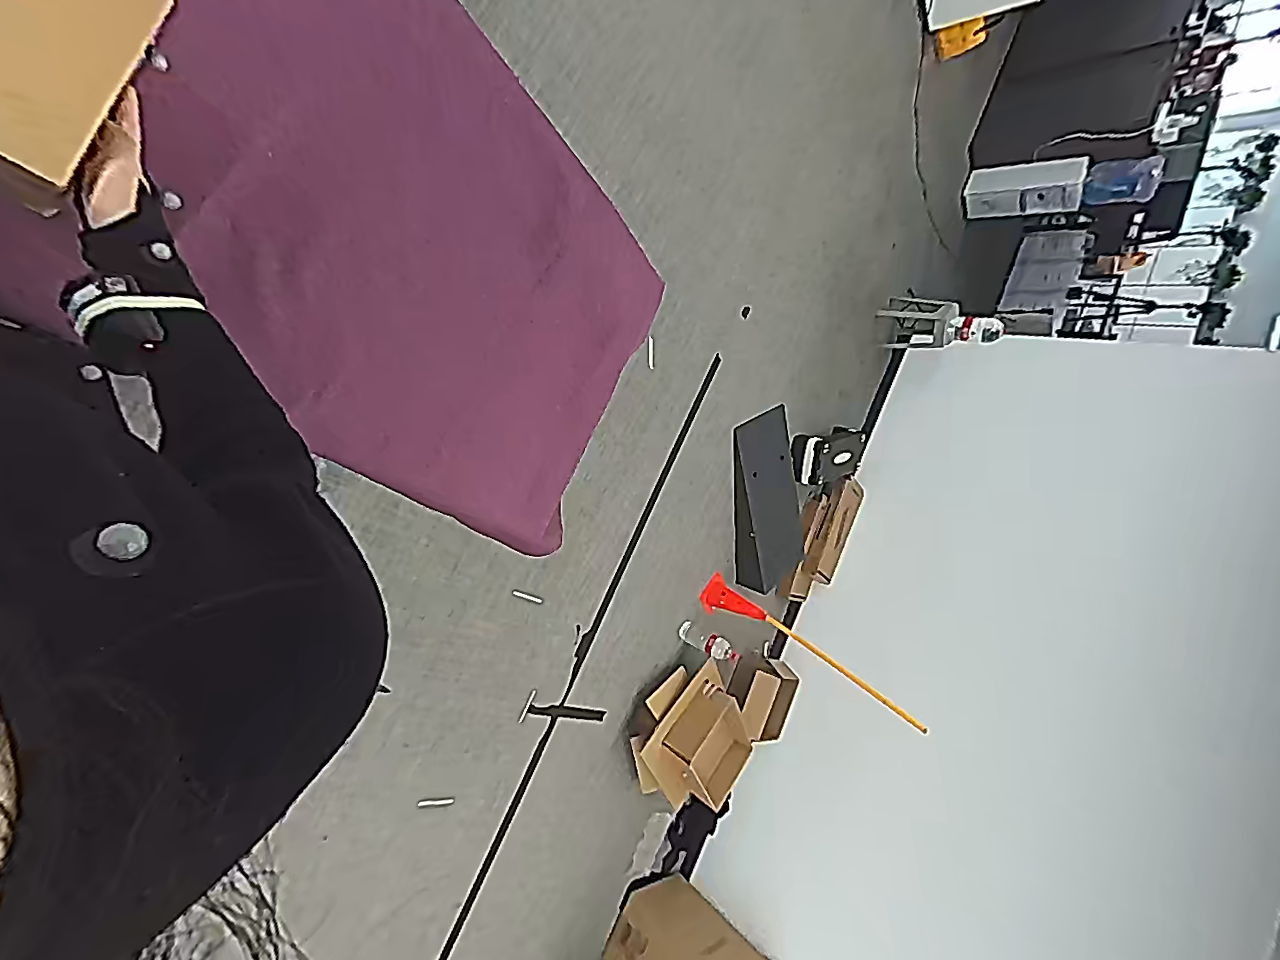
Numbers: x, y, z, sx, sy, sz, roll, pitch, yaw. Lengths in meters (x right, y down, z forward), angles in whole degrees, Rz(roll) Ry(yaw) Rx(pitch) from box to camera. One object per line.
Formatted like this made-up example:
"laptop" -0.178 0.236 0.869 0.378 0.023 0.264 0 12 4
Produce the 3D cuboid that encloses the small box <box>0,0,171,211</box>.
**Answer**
"small box" -0.496 -0.329 0.396 0.168 0.176 0.179 30 76 -50
